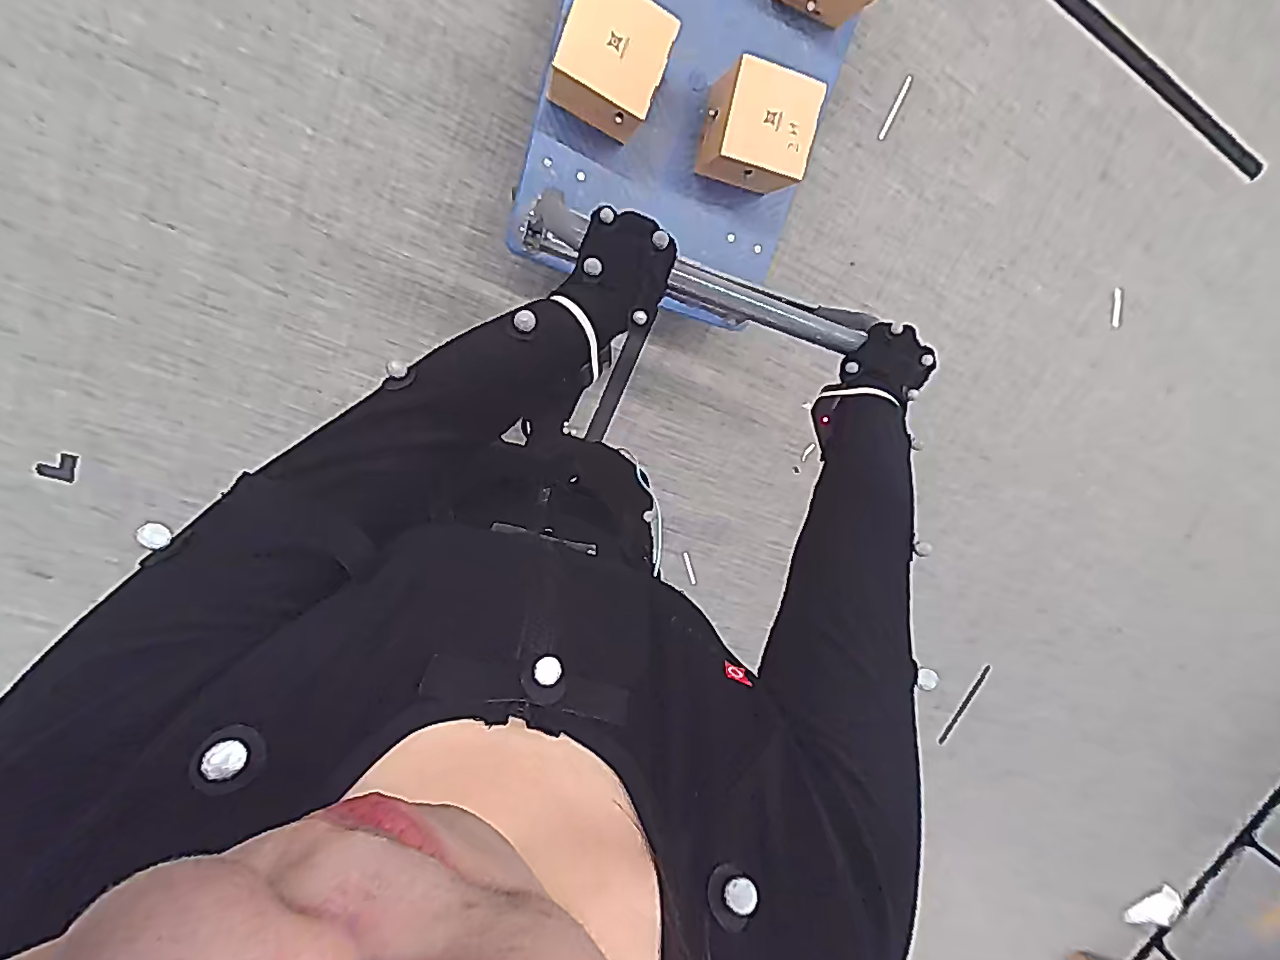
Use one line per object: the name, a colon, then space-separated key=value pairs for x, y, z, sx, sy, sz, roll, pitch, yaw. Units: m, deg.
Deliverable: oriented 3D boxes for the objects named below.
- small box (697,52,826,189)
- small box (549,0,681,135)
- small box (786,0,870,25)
small box: x=0.229 y=-0.698 z=1.075 sx=0.179 sy=0.176 sz=0.168 roll=8 pitch=108 yaw=-16
small box: x=-0.056 y=-0.766 z=0.984 sx=0.179 sy=0.176 sz=0.168 roll=19 pitch=104 yaw=-20
small box: x=0.371 y=-1.004 z=0.997 sx=0.168 sy=0.176 sz=0.179 roll=12 pitch=107 yaw=-17
